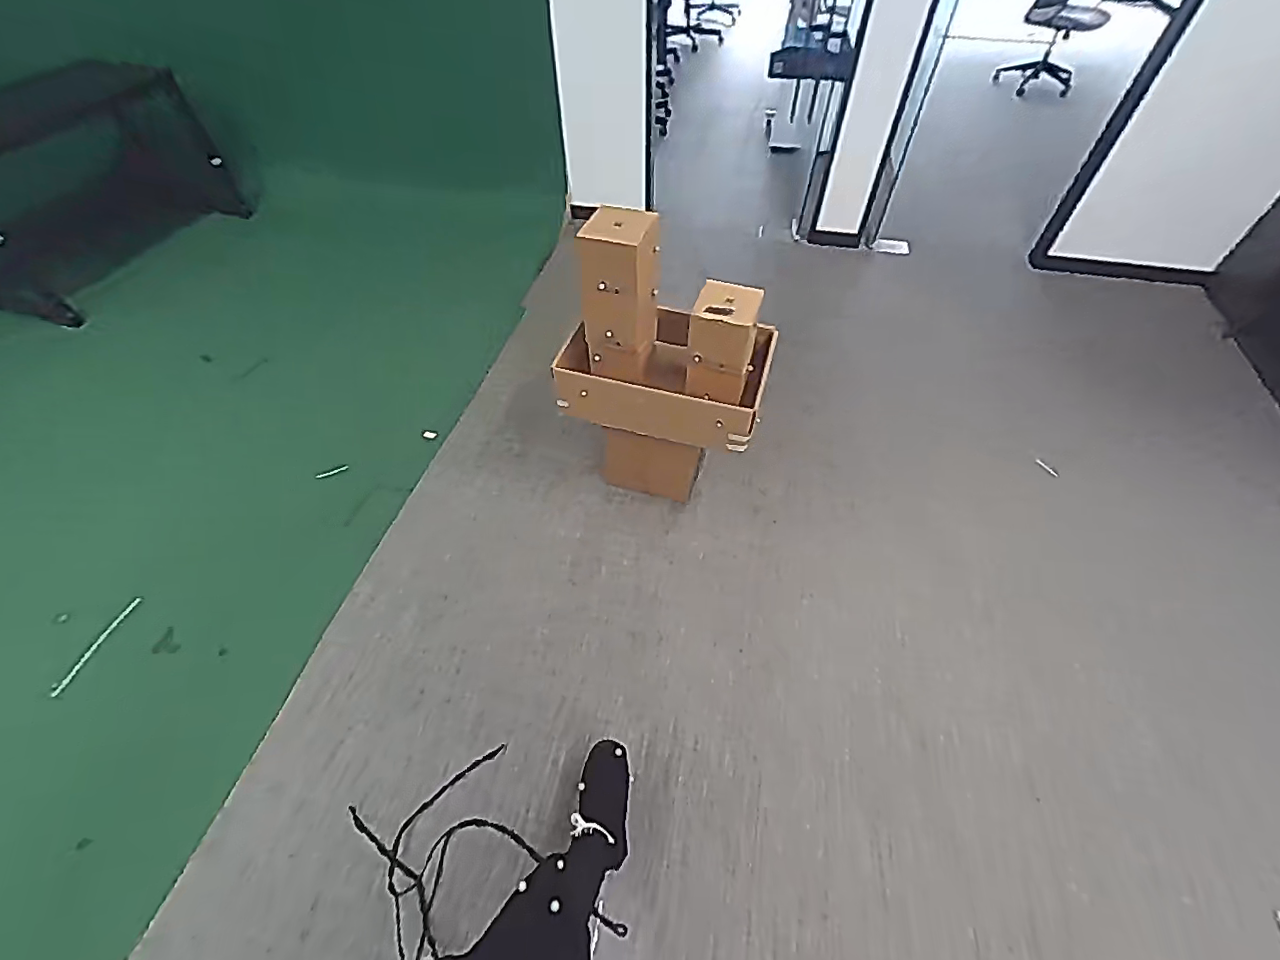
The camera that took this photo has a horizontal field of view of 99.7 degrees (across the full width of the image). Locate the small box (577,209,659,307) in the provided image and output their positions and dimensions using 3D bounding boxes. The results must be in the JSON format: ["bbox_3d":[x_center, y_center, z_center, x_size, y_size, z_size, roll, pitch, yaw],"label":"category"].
[{"bbox_3d":[-0.054,-0.592,1.443,0.168,0.176,0.179,14,54,13],"label":"small box"}]

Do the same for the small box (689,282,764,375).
[{"bbox_3d":[0.239,-0.420,1.511,0.168,0.176,0.179,15,54,12],"label":"small box"}]

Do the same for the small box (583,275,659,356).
[{"bbox_3d":[-0.052,-0.492,1.572,0.168,0.176,0.179,15,54,13],"label":"small box"}]

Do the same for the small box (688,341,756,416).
[{"bbox_3d":[0.245,-0.324,1.645,0.168,0.176,0.179,14,55,11],"label":"small box"}]
